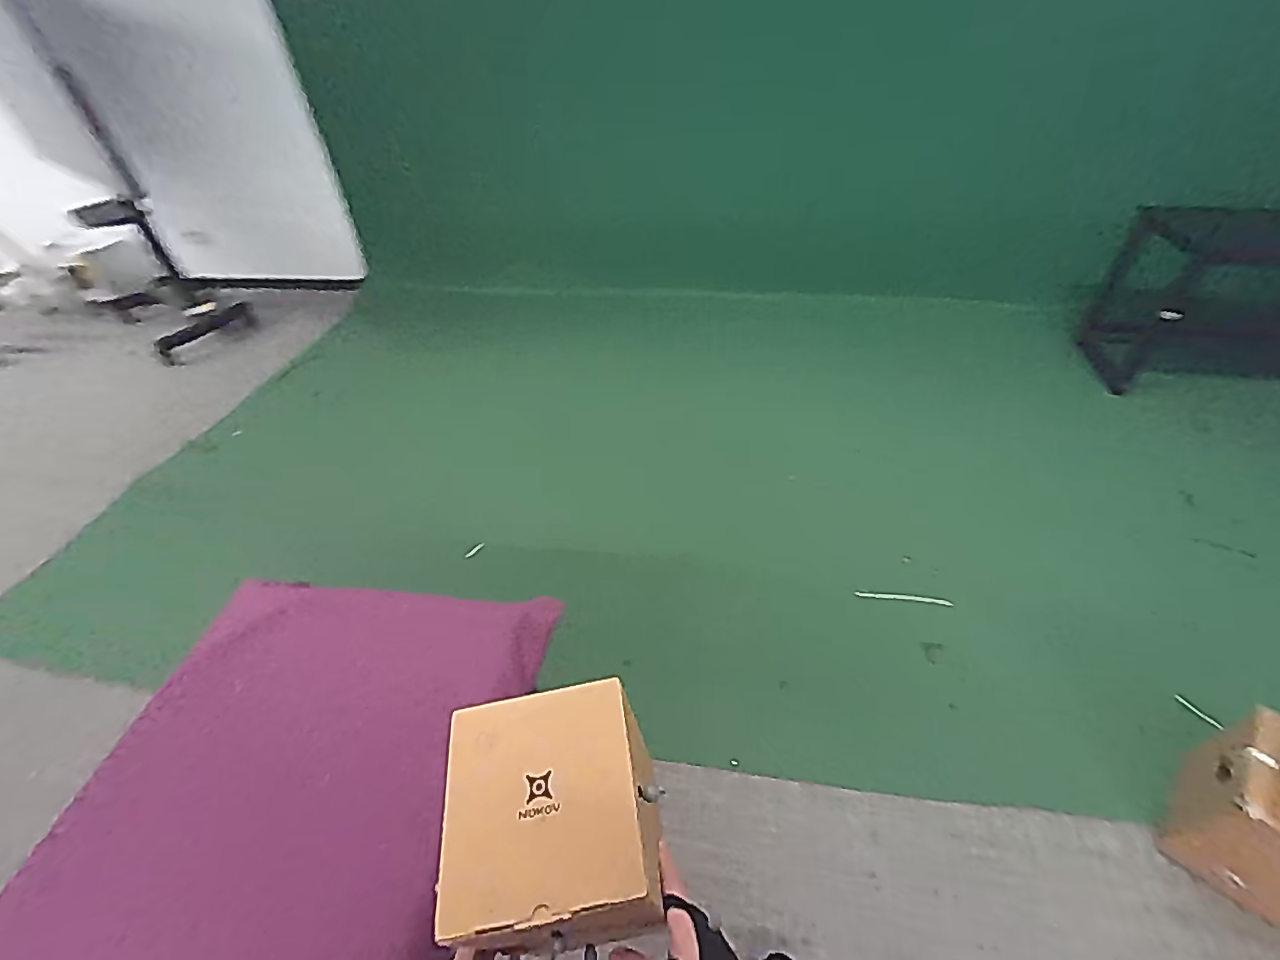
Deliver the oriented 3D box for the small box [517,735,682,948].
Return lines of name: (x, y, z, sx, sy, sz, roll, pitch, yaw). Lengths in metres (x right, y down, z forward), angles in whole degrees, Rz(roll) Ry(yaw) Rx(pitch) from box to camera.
small box: (-0.045, 0.429, 0.641, 0.168, 0.176, 0.179, -9, 48, 0)

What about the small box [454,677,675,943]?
small box: (-0.063, 0.319, 0.523, 0.168, 0.176, 0.179, -10, 48, -1)

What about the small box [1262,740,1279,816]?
small box: (1.415, 0.617, 1.081, 0.168, 0.176, 0.179, 31, 54, 31)
